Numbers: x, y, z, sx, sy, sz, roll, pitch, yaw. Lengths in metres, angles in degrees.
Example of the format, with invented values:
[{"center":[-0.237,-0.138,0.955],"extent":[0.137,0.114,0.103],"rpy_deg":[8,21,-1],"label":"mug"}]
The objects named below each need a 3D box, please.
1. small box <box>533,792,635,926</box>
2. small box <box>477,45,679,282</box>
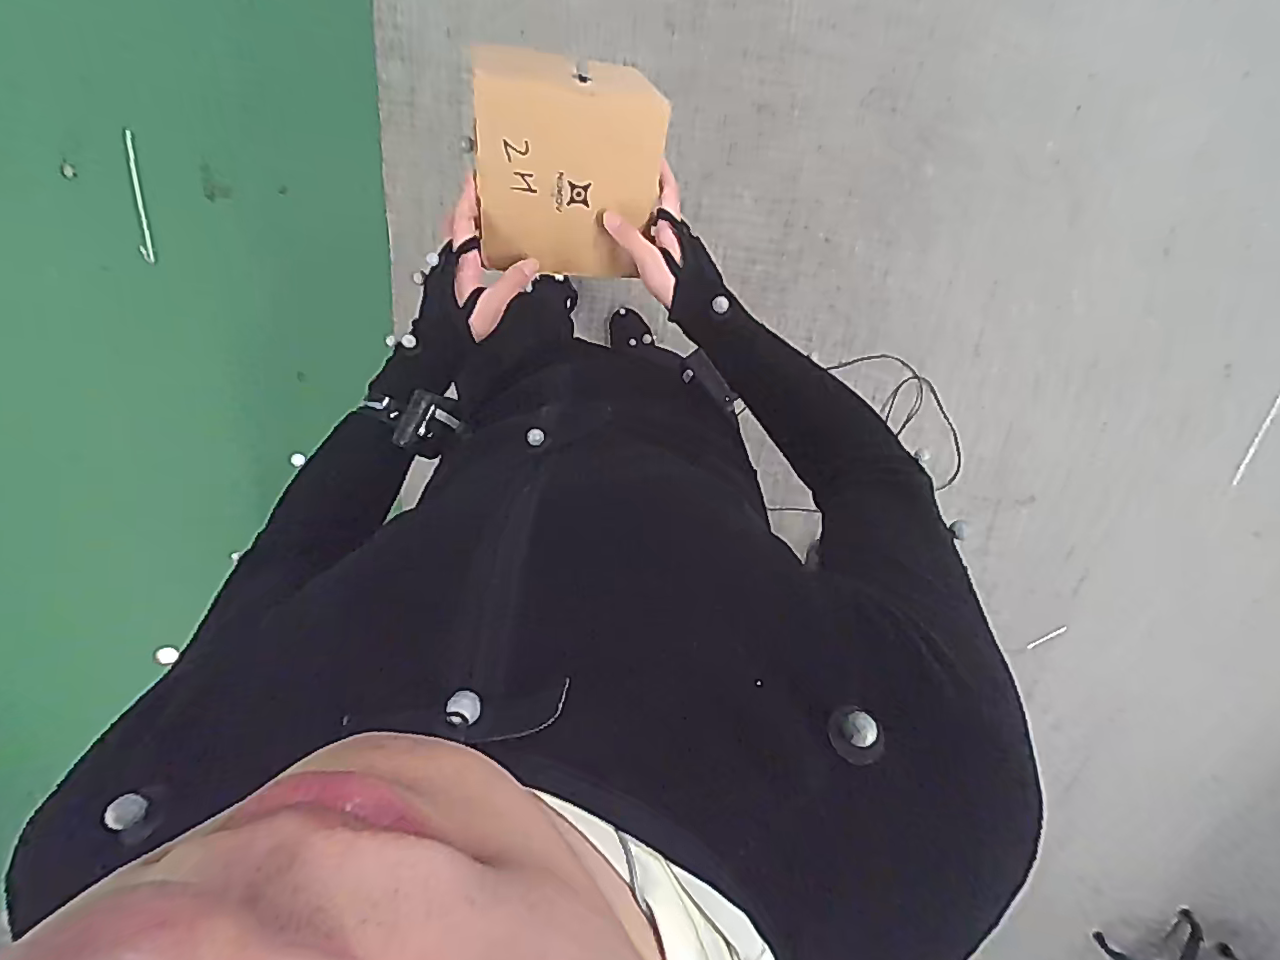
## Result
[{"center":[-0.109,0.784,1.135],"extent":[0.168,0.176,0.179],"rpy_deg":[-11,112,7],"label":"small box"},{"center":[-0.078,-0.331,0.569],"extent":[0.179,0.176,0.168],"rpy_deg":[0,135,-16],"label":"small box"}]
